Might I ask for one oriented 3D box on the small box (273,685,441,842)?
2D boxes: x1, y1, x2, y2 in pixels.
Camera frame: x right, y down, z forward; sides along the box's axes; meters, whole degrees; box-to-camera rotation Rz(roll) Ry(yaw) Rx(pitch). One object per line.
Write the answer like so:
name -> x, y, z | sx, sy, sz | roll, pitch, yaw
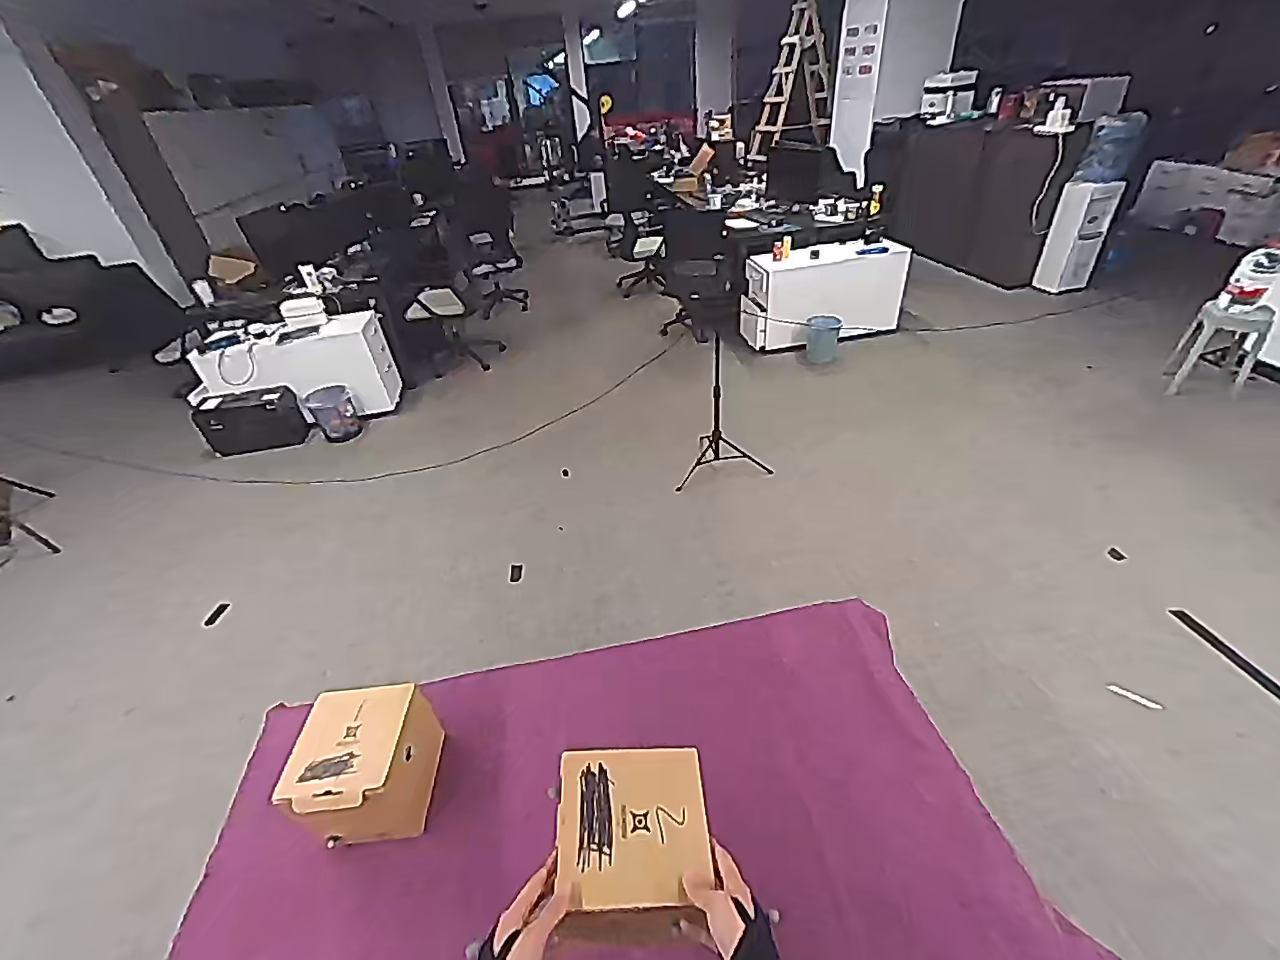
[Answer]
small box -> -0.444, 0.467, 0.887 | 0.168, 0.176, 0.179 | -6, 36, 0
